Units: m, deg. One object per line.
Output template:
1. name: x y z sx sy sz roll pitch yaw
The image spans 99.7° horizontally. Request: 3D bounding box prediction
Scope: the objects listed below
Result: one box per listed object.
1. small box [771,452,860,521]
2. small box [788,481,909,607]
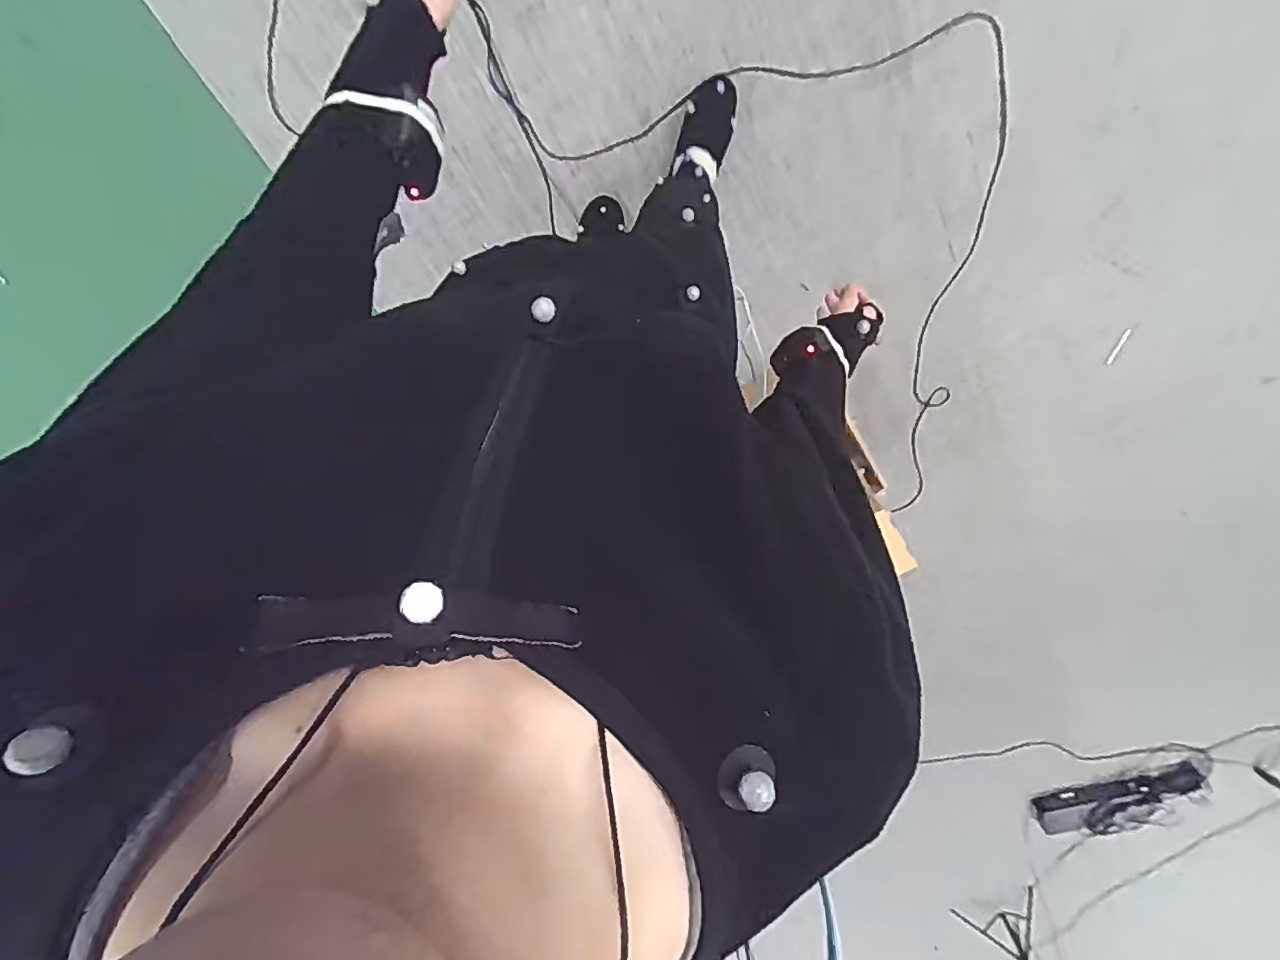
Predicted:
1. small box: 0.442 0.058 1.314 0.179 0.176 0.168 -27 113 15
2. small box: 0.438 0.133 1.171 0.179 0.176 0.168 -32 111 16
